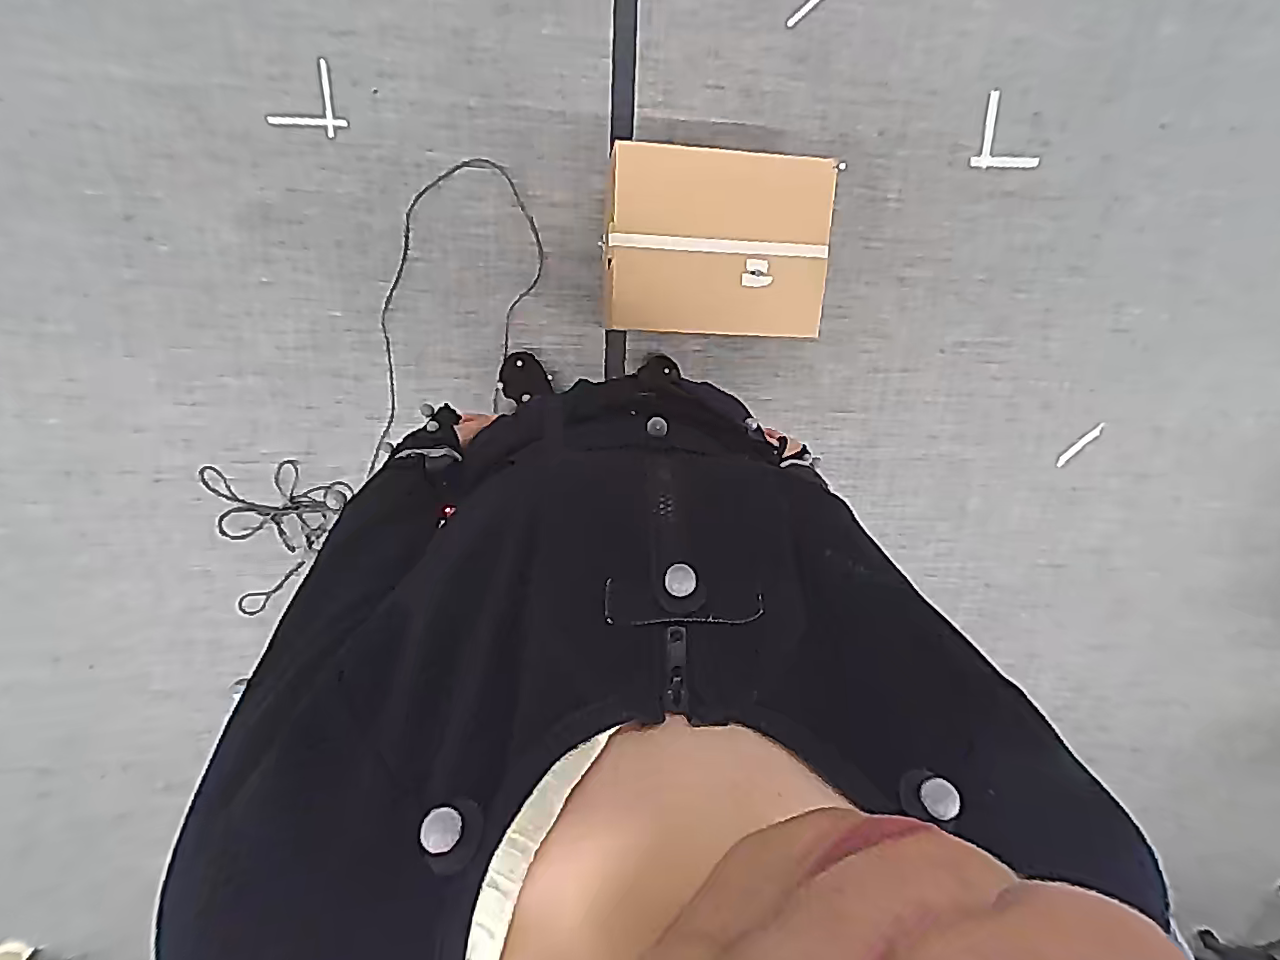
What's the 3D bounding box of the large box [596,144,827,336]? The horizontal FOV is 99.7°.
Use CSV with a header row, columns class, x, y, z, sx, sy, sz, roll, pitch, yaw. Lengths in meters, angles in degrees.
class,x,y,z,sx,sy,sz,roll,pitch,yaw
large box,0.116,-0.464,1.122,0.408,0.320,0.320,0,106,-8
